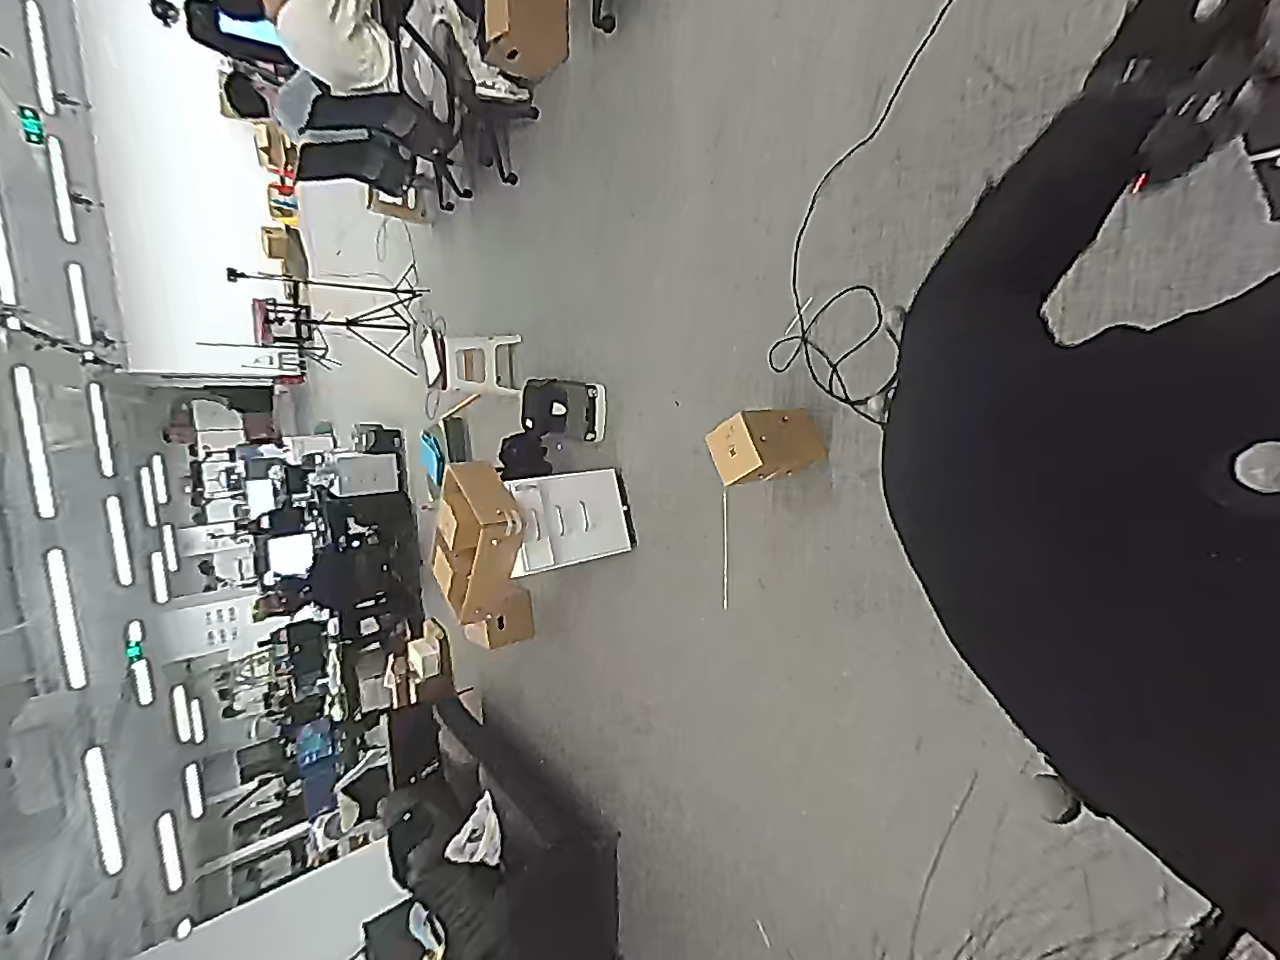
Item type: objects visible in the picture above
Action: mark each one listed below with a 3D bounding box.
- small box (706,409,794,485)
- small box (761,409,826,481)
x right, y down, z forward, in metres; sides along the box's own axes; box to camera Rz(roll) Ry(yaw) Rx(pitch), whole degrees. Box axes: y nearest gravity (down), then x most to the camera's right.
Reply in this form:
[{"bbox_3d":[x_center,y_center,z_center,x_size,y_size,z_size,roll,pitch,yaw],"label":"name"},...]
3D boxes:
[{"bbox_3d":[0.337,-0.103,1.644,0.168,0.176,0.179,-37,68,48],"label":"small box"},{"bbox_3d":[0.464,-0.118,1.747,0.168,0.176,0.179,-44,62,46],"label":"small box"}]
